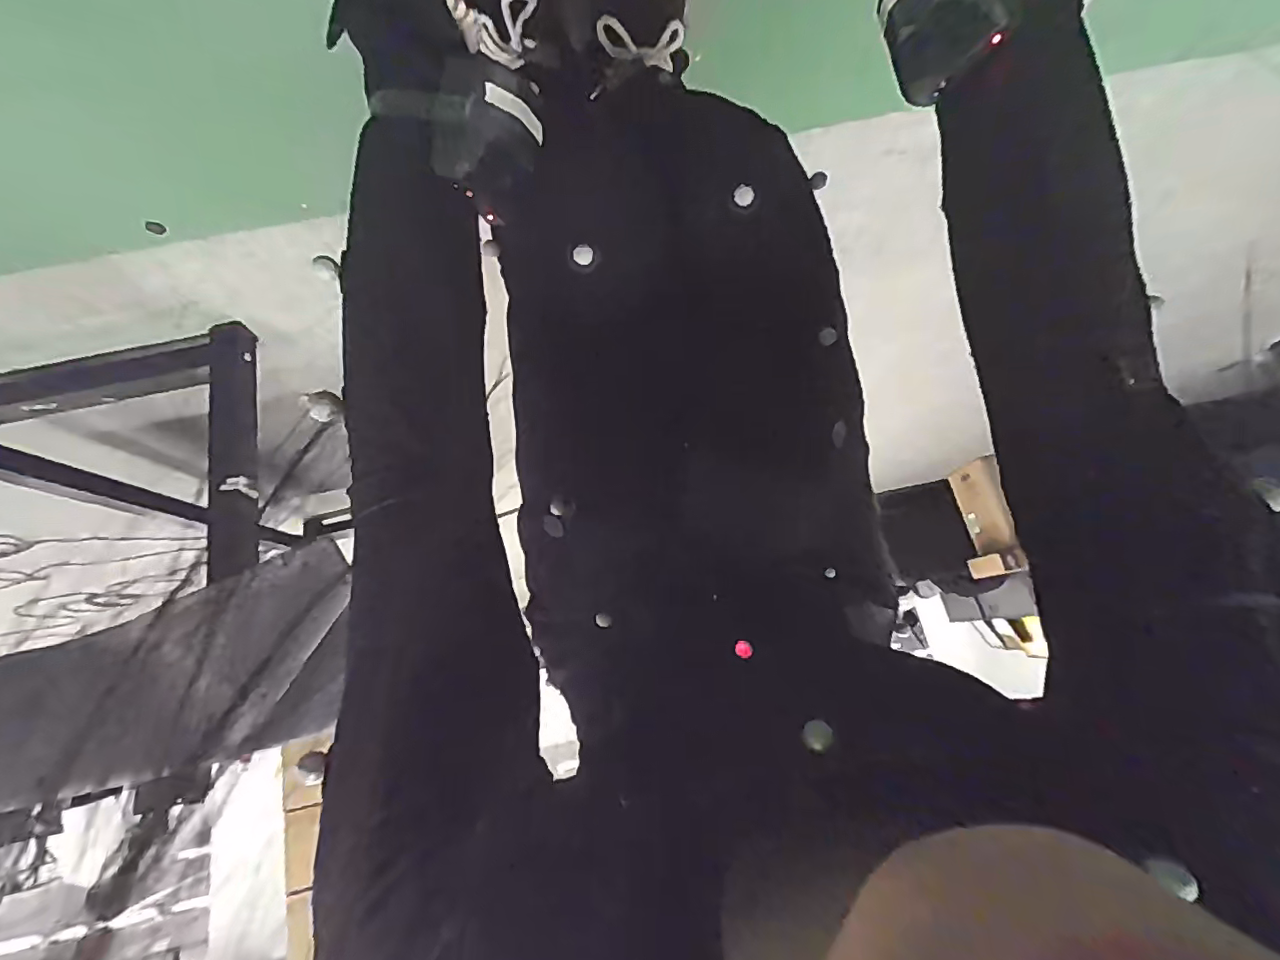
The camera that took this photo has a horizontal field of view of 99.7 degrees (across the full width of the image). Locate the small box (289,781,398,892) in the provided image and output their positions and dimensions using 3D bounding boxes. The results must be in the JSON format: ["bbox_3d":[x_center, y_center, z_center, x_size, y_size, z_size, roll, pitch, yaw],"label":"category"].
[{"bbox_3d":[-0.702,0.838,1.292,0.179,0.176,0.168,-12,163,-2],"label":"small box"}]

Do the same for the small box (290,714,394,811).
[{"bbox_3d":[-0.737,0.688,1.340,0.179,0.176,0.168,-11,163,-2],"label":"small box"}]
